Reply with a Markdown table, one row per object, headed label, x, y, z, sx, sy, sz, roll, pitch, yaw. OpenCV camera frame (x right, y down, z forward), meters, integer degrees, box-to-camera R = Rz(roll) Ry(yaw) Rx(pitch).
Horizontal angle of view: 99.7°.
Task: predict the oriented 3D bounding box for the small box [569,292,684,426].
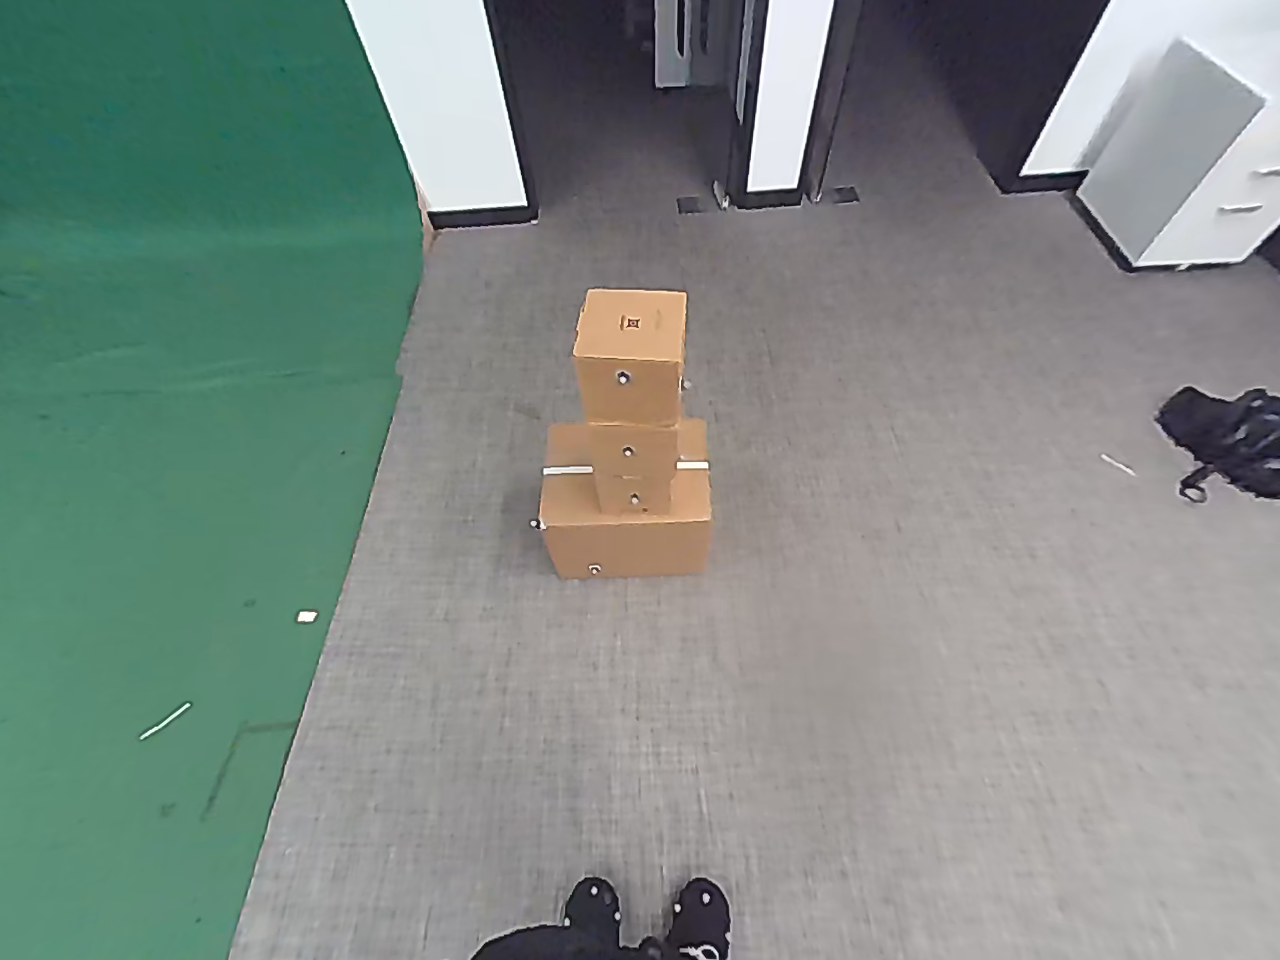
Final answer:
| label | x | y | z | sx | sy | sz | roll | pitch | yaw |
| --- | --- | --- | --- | --- | --- | --- | --- | --- | --- |
| small box | -0.017 | -0.210 | 0.963 | 0.179 | 0.176 | 0.168 | 5 | 59 | 4 |

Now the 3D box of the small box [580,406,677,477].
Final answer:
| label | x | y | z | sx | sy | sz | roll | pitch | yaw |
| --- | --- | --- | --- | --- | --- | --- | --- | --- | --- |
| small box | -0.015 | -0.117 | 1.095 | 0.179 | 0.176 | 0.168 | 2 | 58 | 5 |

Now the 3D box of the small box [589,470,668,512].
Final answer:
| label | x | y | z | sx | sy | sz | roll | pitch | yaw |
| --- | --- | --- | --- | --- | --- | --- | --- | --- | --- |
| small box | -0.019 | -0.036 | 1.240 | 0.168 | 0.176 | 0.179 | 0 | 58 | 2 |
